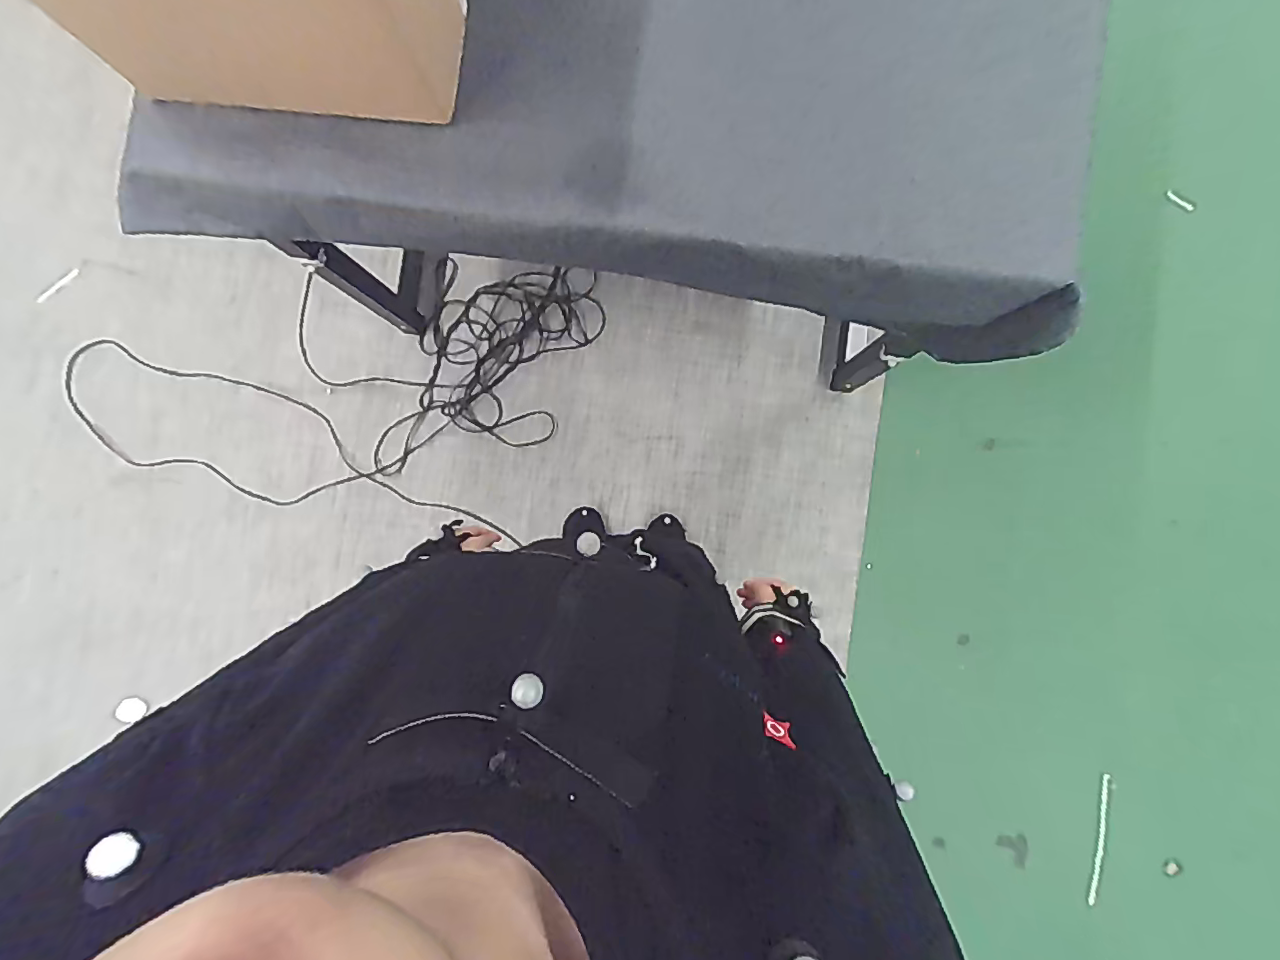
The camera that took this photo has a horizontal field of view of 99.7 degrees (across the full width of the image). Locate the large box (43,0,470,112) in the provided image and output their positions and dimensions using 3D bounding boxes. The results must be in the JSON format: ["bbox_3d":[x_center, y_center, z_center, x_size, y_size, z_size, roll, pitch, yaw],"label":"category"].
[{"bbox_3d":[-0.416,-0.633,0.546,0.408,0.320,0.320,5,88,0],"label":"large box"}]
